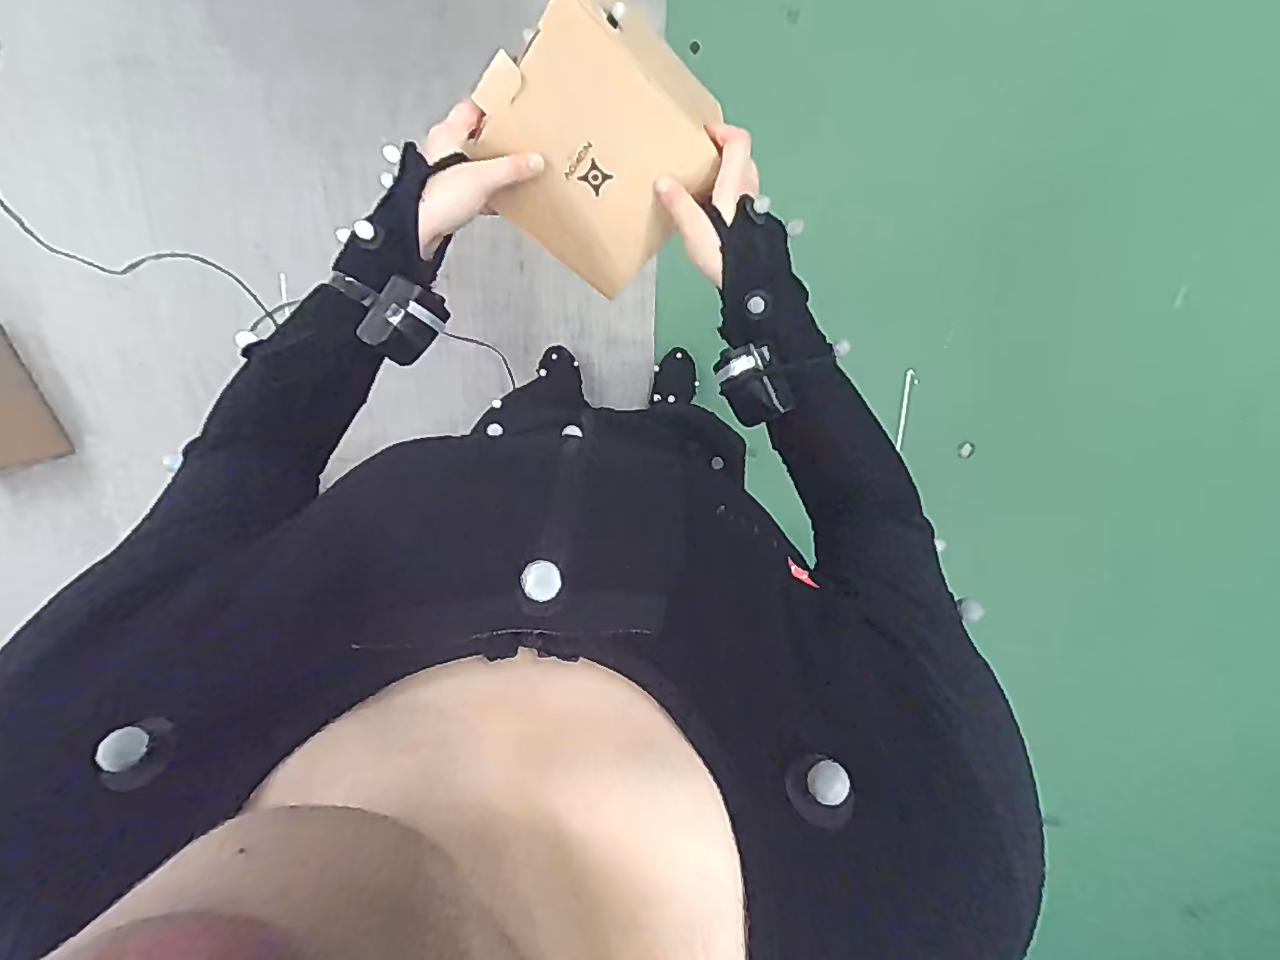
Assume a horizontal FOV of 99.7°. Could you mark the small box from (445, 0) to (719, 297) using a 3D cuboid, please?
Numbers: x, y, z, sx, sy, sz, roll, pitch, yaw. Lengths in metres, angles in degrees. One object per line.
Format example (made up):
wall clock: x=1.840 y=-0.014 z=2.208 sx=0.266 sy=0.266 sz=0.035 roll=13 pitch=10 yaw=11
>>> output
small box: x=-0.045 y=-0.318 z=0.504 sx=0.179 sy=0.176 sz=0.168 roll=31 pitch=132 yaw=-27

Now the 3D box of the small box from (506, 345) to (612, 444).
small box: x=-0.194 y=-0.213 z=1.343 sx=0.176 sy=0.168 sz=0.179 roll=38 pitch=77 yaw=-34
